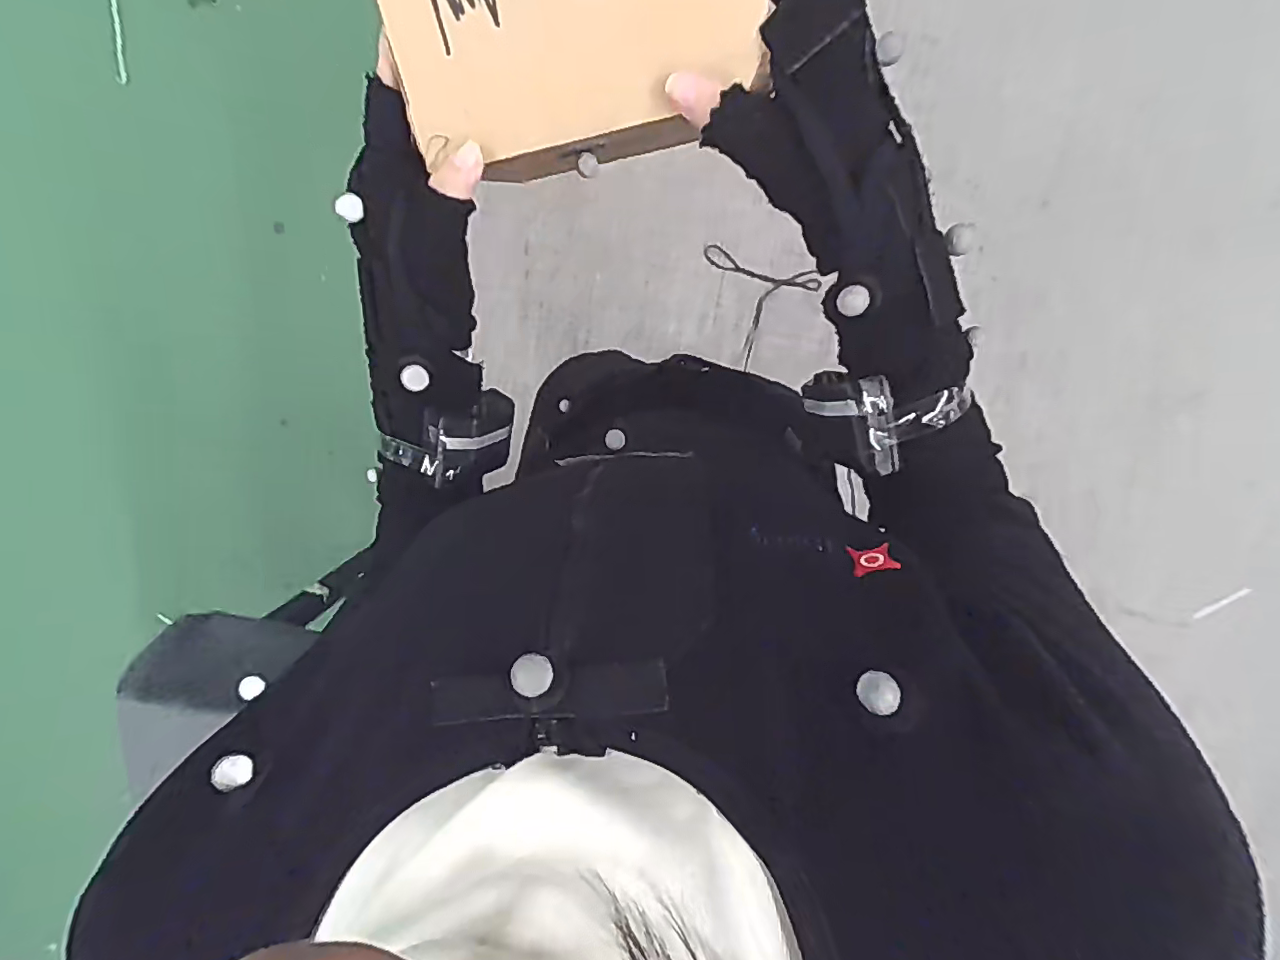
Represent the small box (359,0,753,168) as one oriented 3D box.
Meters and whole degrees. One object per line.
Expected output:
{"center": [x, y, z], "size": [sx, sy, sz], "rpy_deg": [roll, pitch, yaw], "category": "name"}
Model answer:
{"center": [-0.038, -0.279, 0.293], "size": [0.179, 0.176, 0.168], "rpy_deg": [-7, 118, 9], "category": "small box"}
